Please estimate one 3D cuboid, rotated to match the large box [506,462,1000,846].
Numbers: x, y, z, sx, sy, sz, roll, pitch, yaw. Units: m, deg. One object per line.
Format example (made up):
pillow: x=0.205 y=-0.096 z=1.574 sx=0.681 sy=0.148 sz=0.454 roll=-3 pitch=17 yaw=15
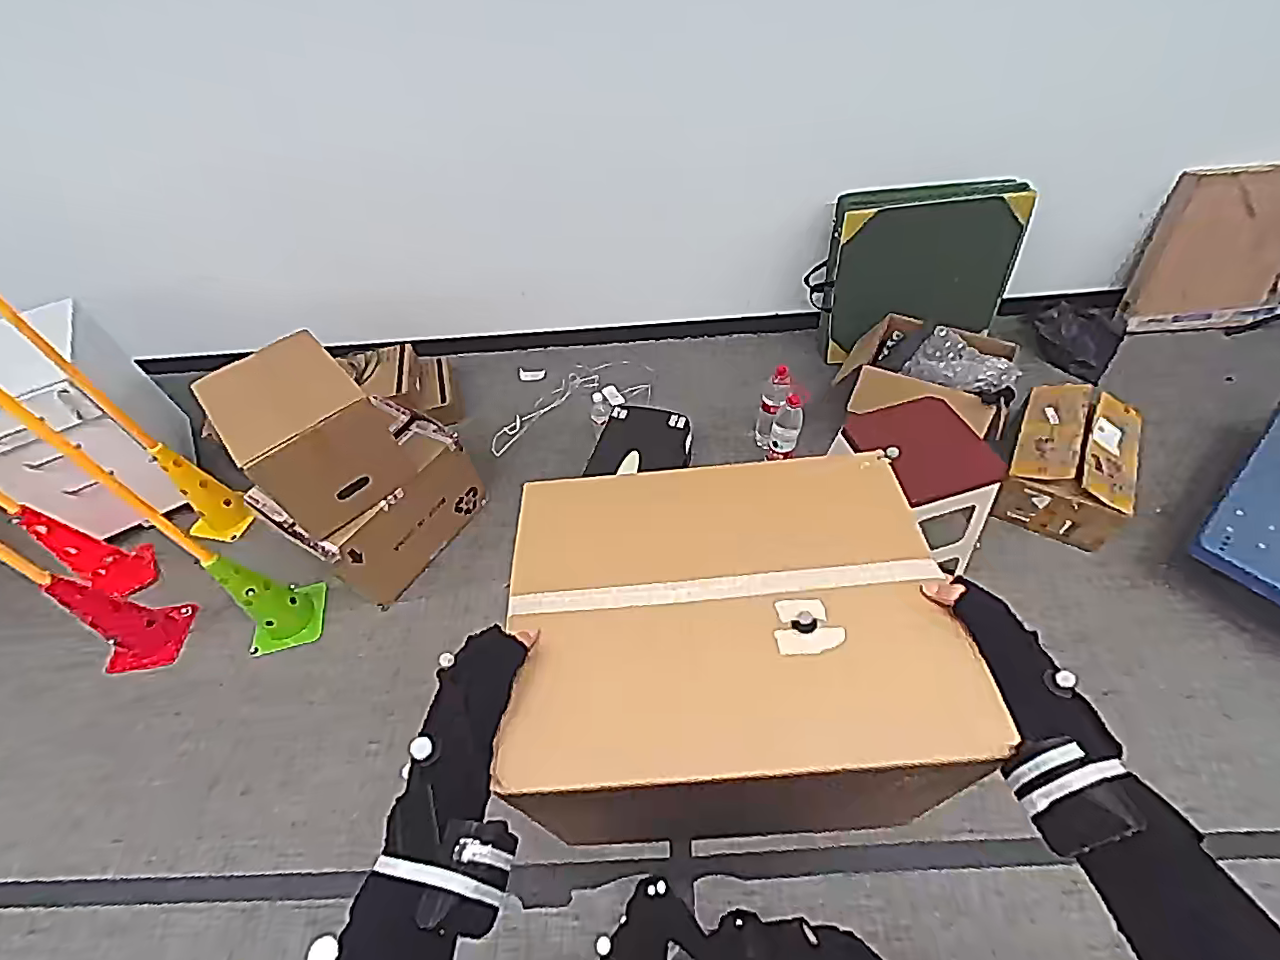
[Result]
large box: x=0.090 y=0.209 z=0.635 sx=0.408 sy=0.320 sz=0.320 roll=-5 pitch=49 yaw=2
